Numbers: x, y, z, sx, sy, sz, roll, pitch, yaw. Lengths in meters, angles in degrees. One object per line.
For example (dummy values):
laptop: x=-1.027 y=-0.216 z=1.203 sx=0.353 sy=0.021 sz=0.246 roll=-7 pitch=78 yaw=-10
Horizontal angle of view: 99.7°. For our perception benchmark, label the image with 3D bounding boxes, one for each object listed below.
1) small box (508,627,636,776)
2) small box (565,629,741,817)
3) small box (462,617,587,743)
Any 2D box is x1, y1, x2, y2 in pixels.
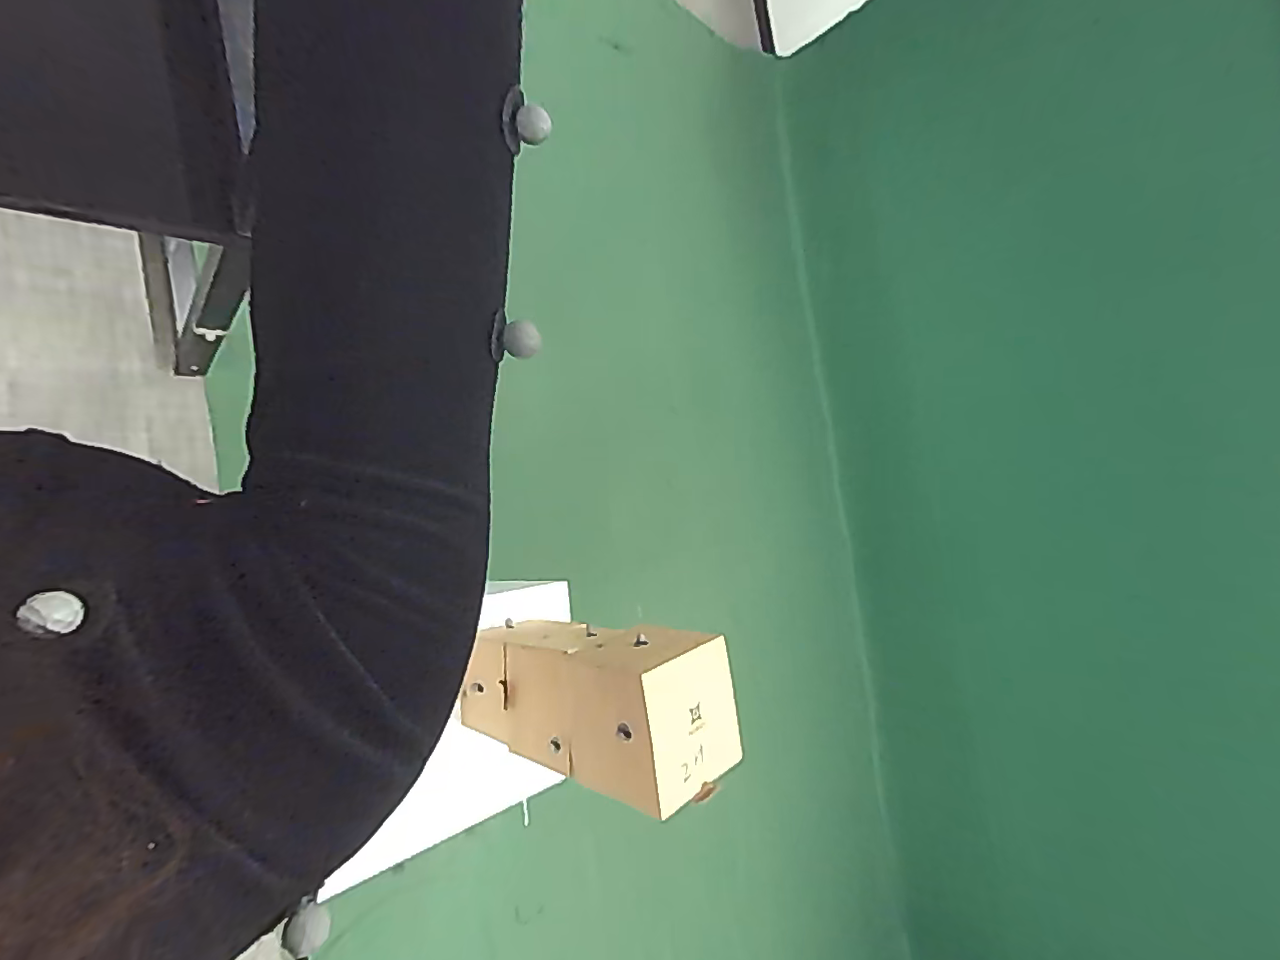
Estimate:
small box: x=-0.097 y=0.334 z=0.860 sx=0.168 sy=0.176 sz=0.179 roll=3 pitch=82 yaw=-45
small box: x=0.014 y=0.310 z=0.740 sx=0.168 sy=0.176 sz=0.179 roll=-7 pitch=89 yaw=-45
small box: x=-0.209 y=0.348 z=0.977 sx=0.179 sy=0.176 sz=0.168 roll=-1 pitch=84 yaw=-44
